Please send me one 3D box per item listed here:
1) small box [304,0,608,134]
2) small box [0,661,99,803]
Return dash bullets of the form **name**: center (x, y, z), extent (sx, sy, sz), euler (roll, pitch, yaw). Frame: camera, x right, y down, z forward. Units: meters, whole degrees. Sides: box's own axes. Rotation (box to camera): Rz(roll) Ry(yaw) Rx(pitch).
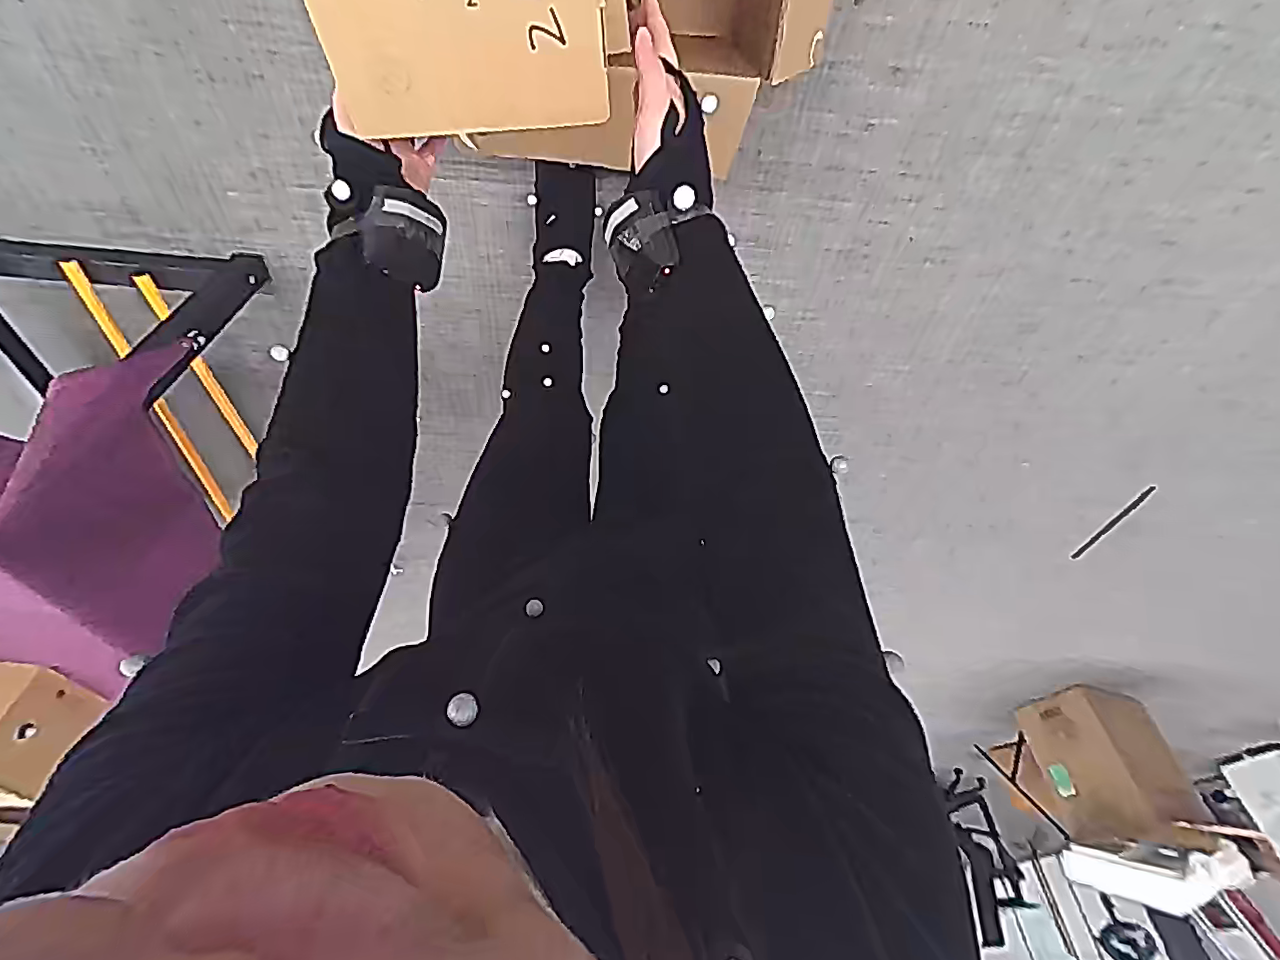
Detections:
- **small box**: center (-0.114, -0.353, 0.355), extent (0.179, 0.176, 0.168), euler (-5, 142, -1)
- **small box**: center (-1.018, 0.390, 0.844), extent (0.179, 0.176, 0.168), euler (4, 137, -3)
